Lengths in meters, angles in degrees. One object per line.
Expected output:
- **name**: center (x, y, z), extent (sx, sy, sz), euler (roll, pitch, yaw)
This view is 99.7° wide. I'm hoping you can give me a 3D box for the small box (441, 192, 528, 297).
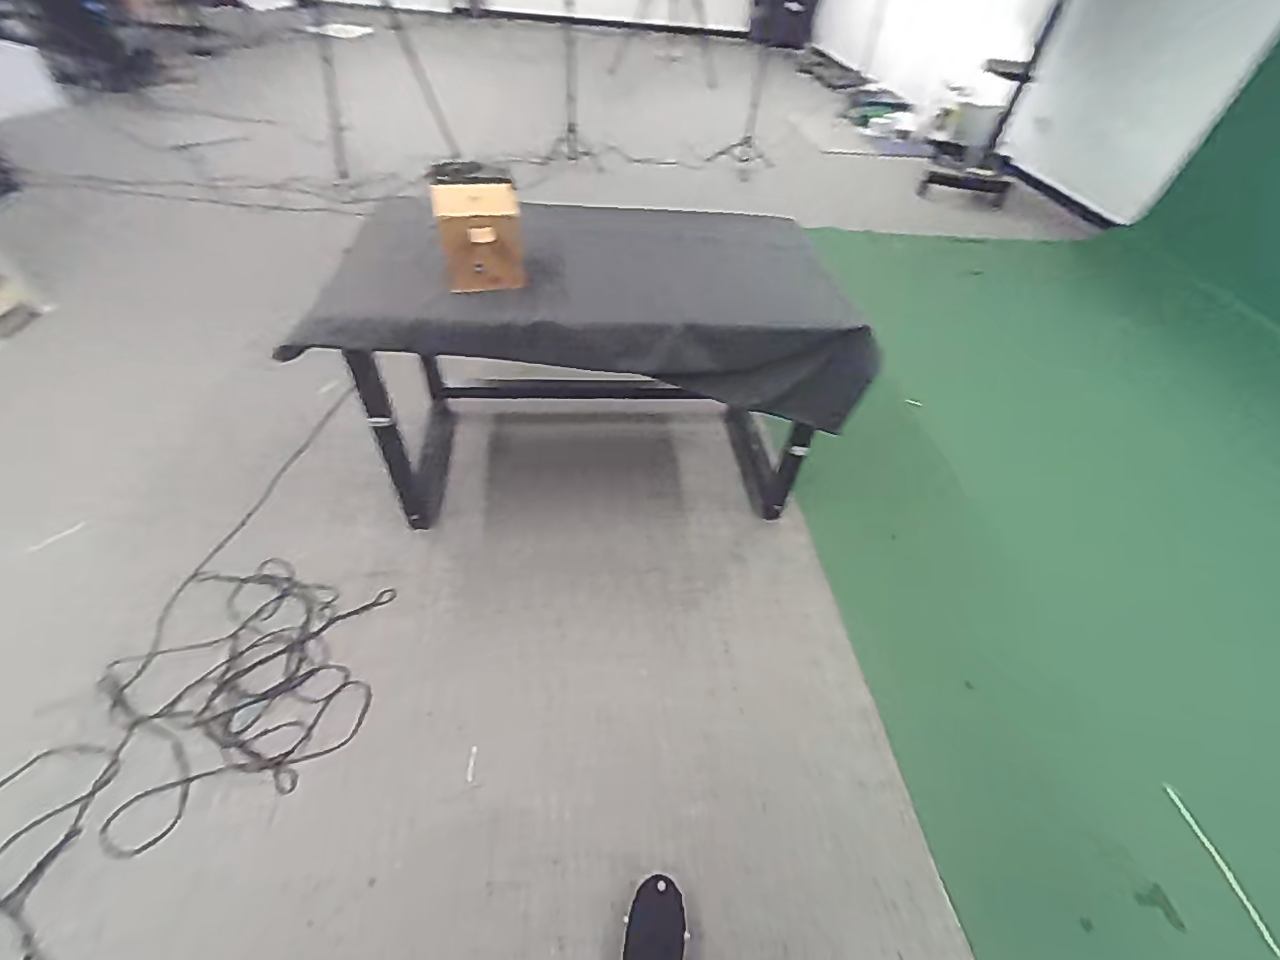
- **small box**: center (-0.351, -0.533, 1.225), extent (0.168, 0.176, 0.179), euler (-9, 48, -15)
